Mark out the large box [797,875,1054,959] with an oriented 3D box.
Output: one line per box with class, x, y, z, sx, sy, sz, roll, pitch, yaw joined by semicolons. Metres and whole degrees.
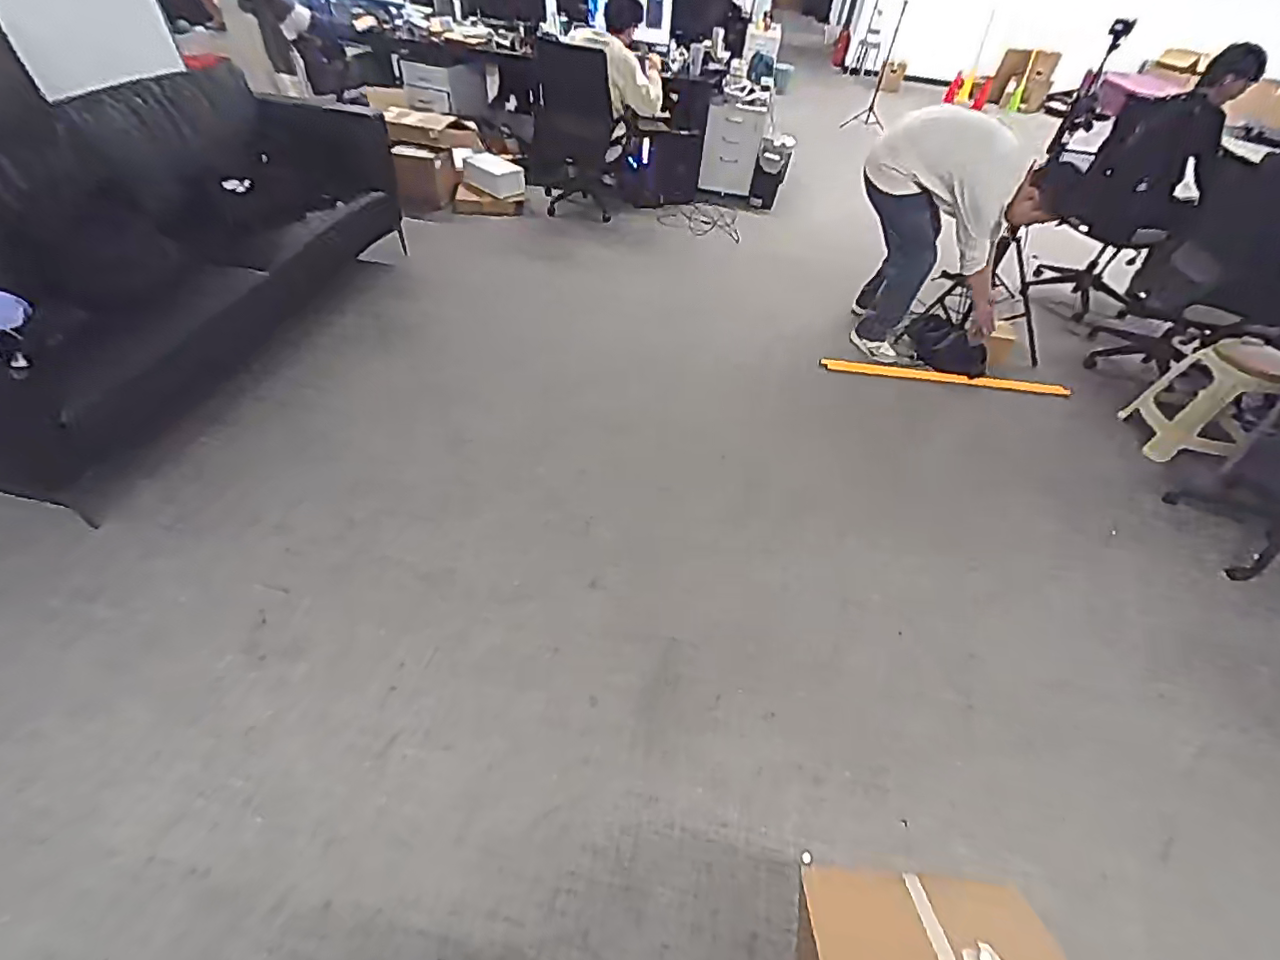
large box;0.373;0.777;0.632;0.320;0.320;0.408;2;6;6
